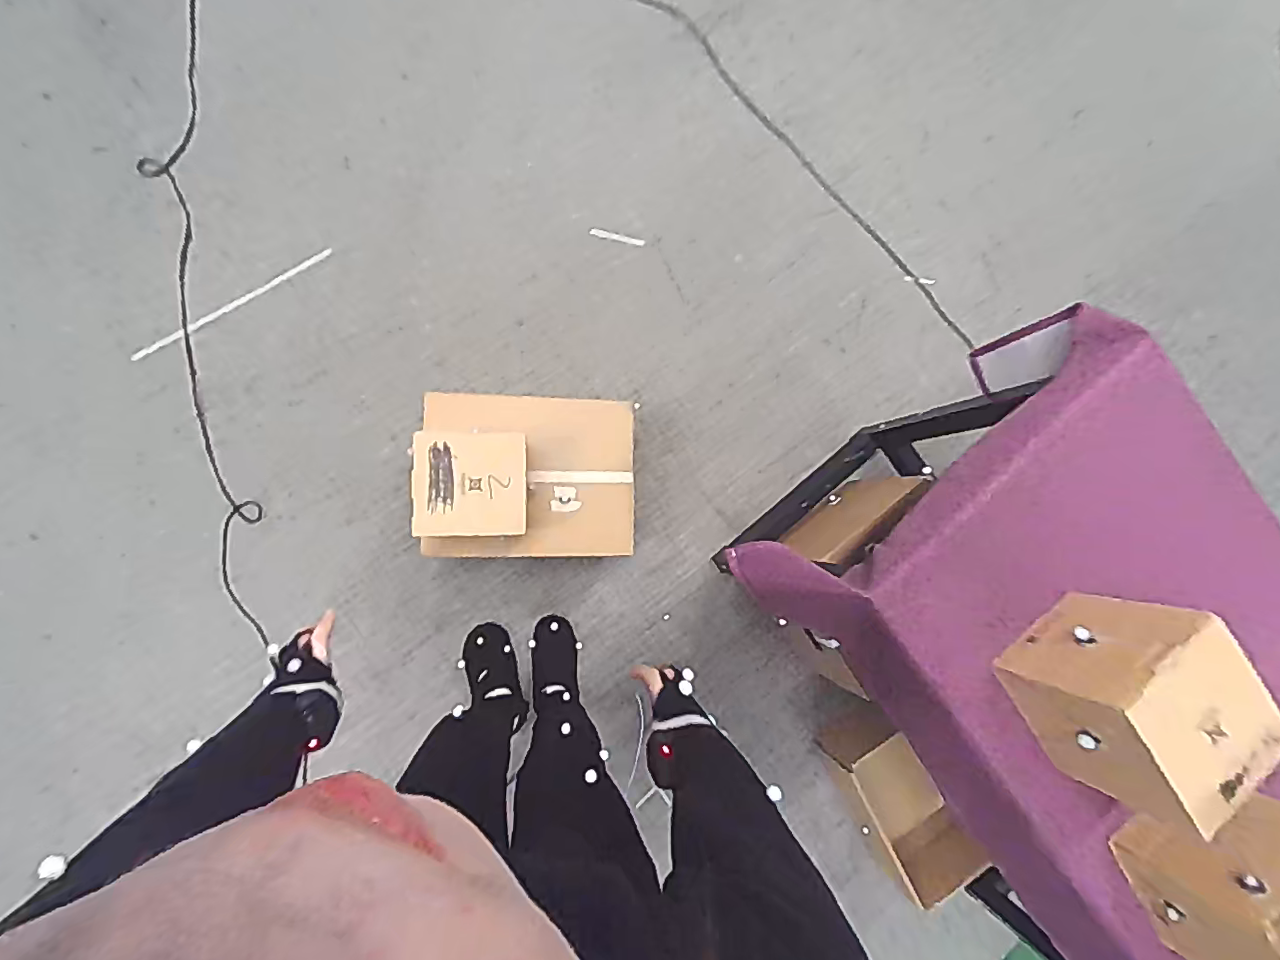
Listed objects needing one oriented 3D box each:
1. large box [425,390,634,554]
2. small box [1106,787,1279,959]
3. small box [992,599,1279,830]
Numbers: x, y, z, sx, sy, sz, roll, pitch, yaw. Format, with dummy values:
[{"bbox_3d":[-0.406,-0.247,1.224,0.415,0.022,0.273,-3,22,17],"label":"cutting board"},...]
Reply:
[{"bbox_3d":[-0.237,-0.008,1.195,0.408,0.320,0.320,1,87,-11],"label":"large box"},{"bbox_3d":[0.754,0.506,0.678,0.179,0.176,0.168,-29,92,-10],"label":"small box"},{"bbox_3d":[0.584,0.261,0.658,0.168,0.176,0.179,-34,93,-10],"label":"small box"}]
